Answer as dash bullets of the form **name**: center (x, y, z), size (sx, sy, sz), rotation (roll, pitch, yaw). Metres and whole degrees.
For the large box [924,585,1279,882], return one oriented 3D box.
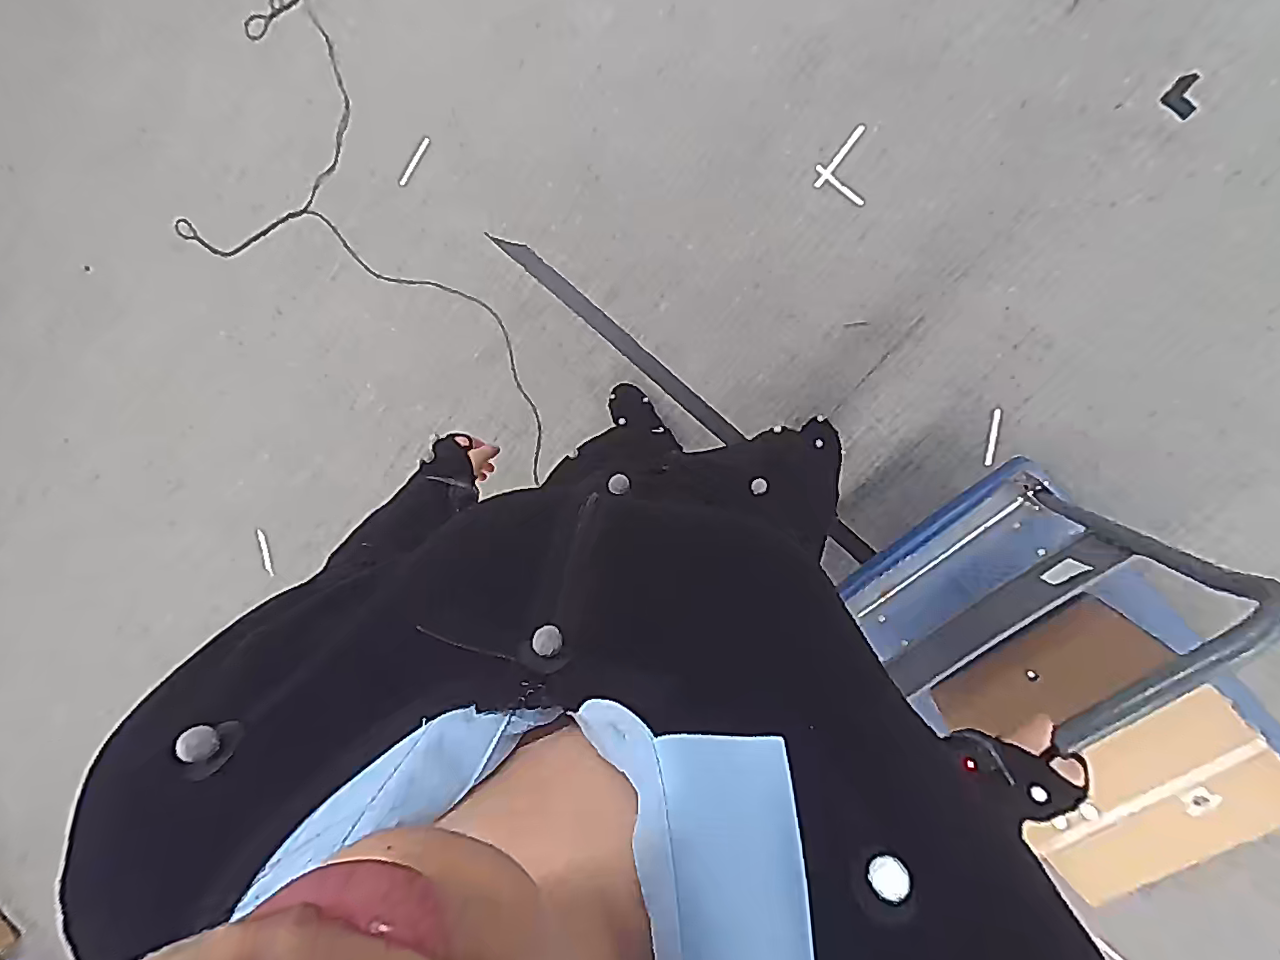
- **large box**: center (0.890, 0.494, 1.110), size (0.408, 0.320, 0.320), rotation (-43, 91, 16)
